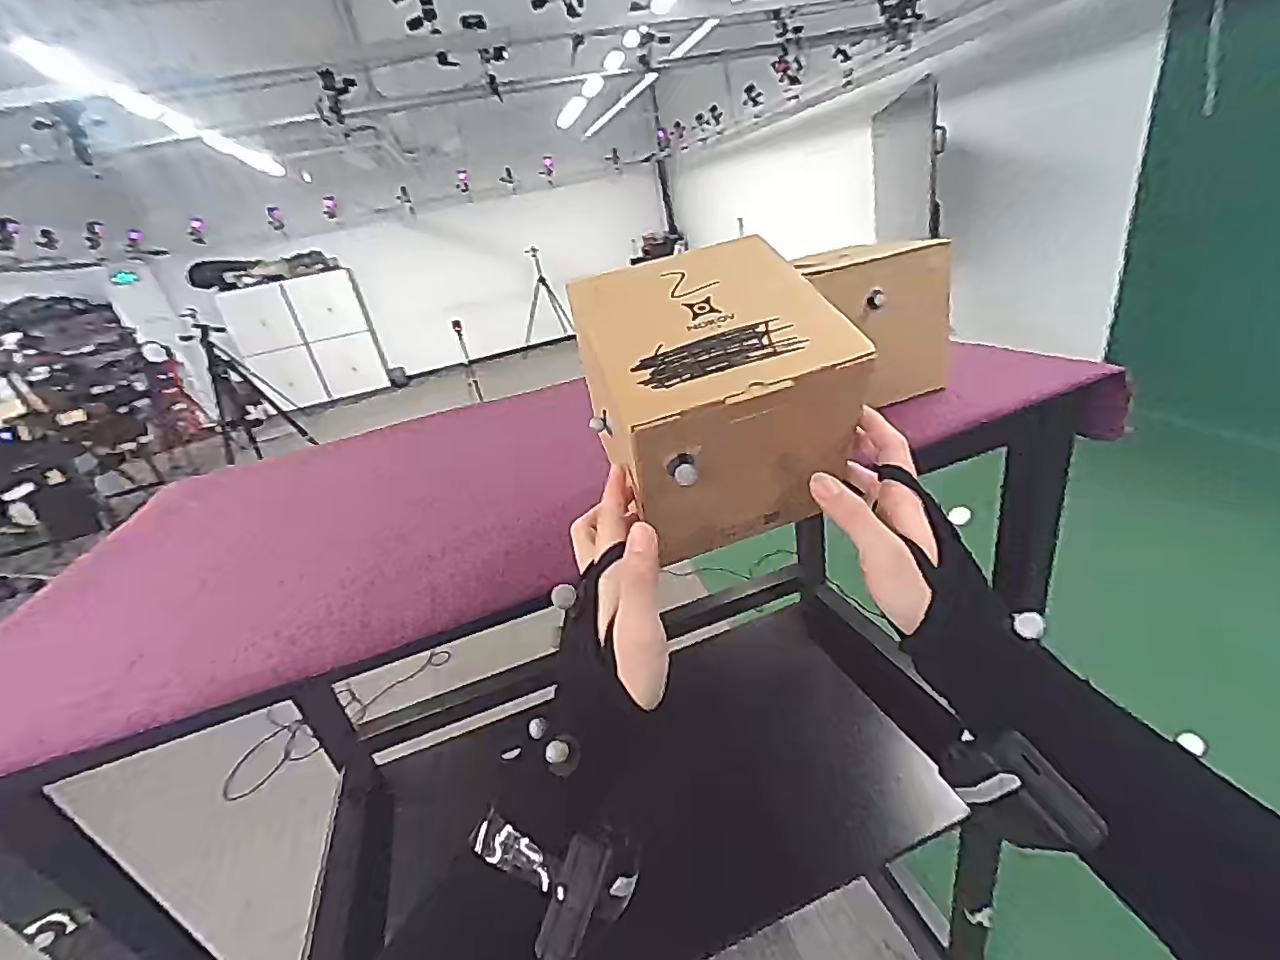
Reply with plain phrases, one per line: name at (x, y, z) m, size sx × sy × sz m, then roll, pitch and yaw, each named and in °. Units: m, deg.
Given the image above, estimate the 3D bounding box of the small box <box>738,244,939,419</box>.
small box at (0.245, -0.187, 0.680) m, size 0.179 × 0.176 × 0.168 m, roll -17°, pitch 25°, yaw -12°
